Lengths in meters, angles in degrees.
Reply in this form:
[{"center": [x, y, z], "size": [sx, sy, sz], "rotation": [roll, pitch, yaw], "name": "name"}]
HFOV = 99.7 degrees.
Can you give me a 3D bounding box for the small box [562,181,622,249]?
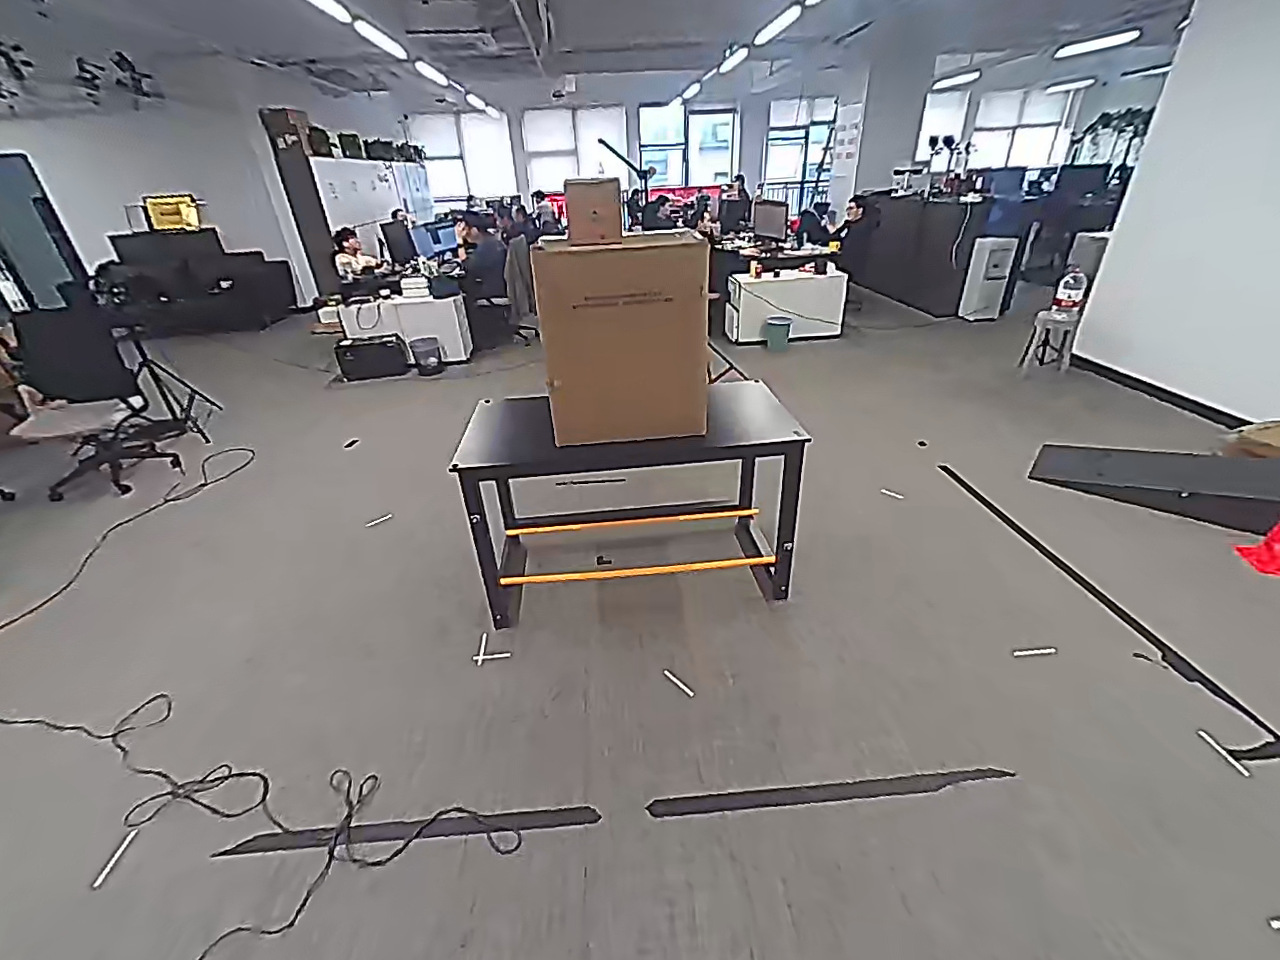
[{"center": [-0.144, -0.808, 1.650], "size": [0.168, 0.176, 0.179], "rotation": [-4, 32, -3], "name": "small box"}]
